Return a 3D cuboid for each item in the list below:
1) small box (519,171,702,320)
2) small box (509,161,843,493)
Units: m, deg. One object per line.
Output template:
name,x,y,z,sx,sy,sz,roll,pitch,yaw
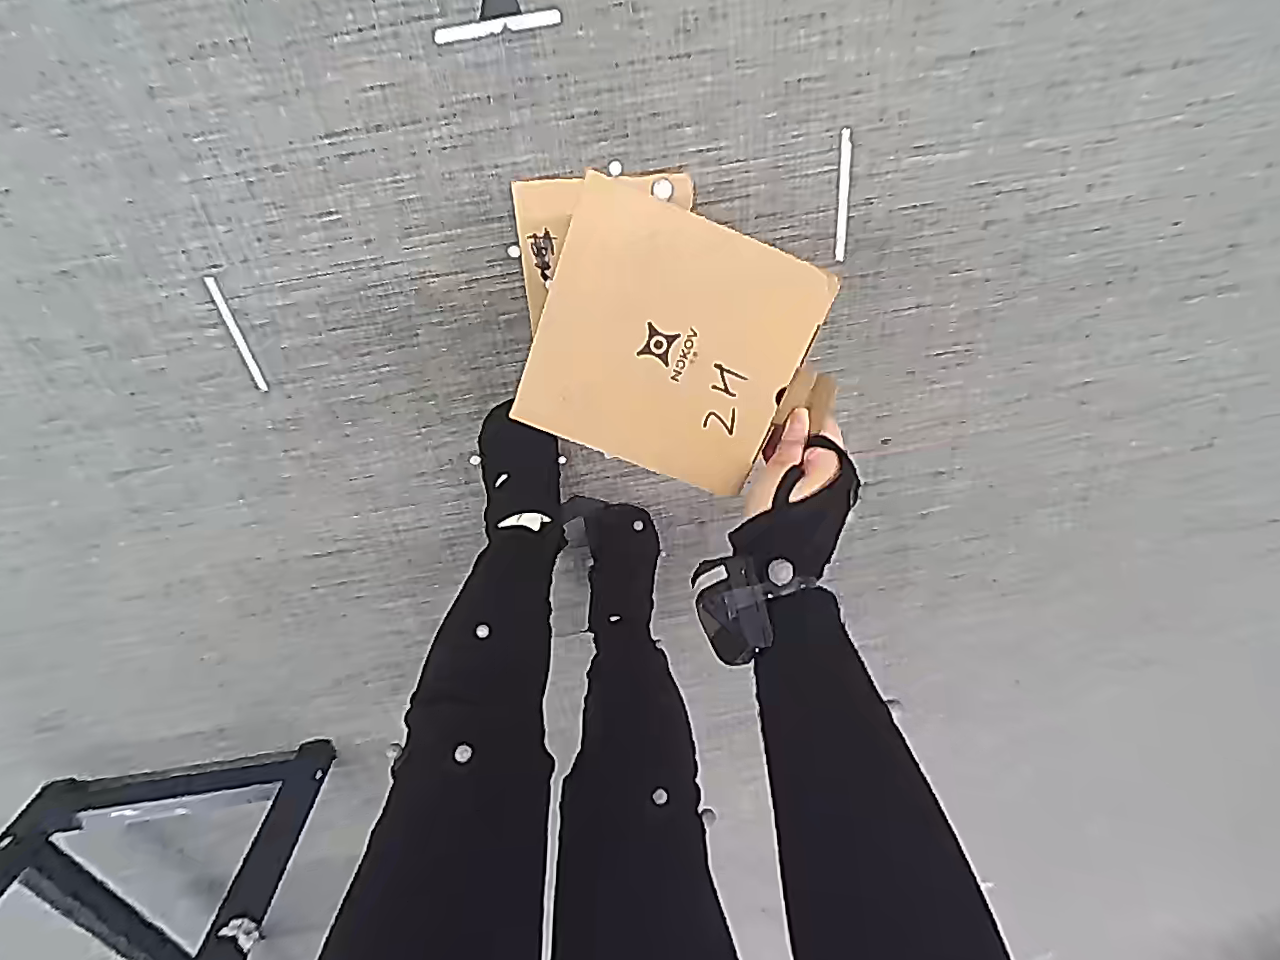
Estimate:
small box,-0.035,-0.254,0.614,0.179,0.176,0.168,-4,120,-4
small box,0.020,-0.116,0.430,0.179,0.176,0.168,20,109,-7
